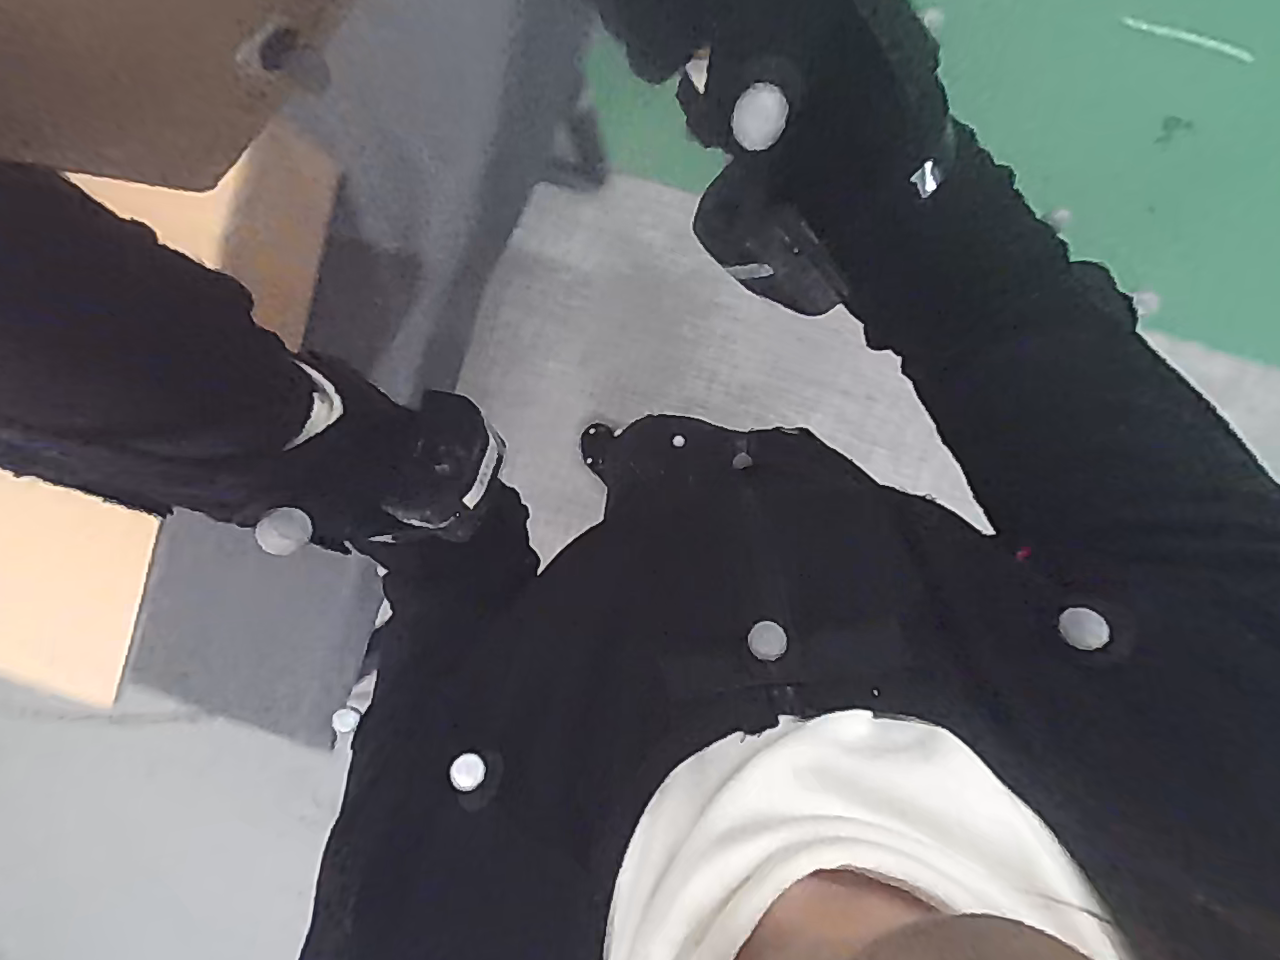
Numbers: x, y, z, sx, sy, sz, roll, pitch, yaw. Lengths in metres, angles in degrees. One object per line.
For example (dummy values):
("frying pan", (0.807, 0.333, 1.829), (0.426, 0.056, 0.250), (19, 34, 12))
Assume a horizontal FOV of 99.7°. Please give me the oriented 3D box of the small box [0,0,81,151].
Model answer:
("small box", (-0.520, -0.341, 0.330), (0.179, 0.176, 0.168), (19, 93, 3))
